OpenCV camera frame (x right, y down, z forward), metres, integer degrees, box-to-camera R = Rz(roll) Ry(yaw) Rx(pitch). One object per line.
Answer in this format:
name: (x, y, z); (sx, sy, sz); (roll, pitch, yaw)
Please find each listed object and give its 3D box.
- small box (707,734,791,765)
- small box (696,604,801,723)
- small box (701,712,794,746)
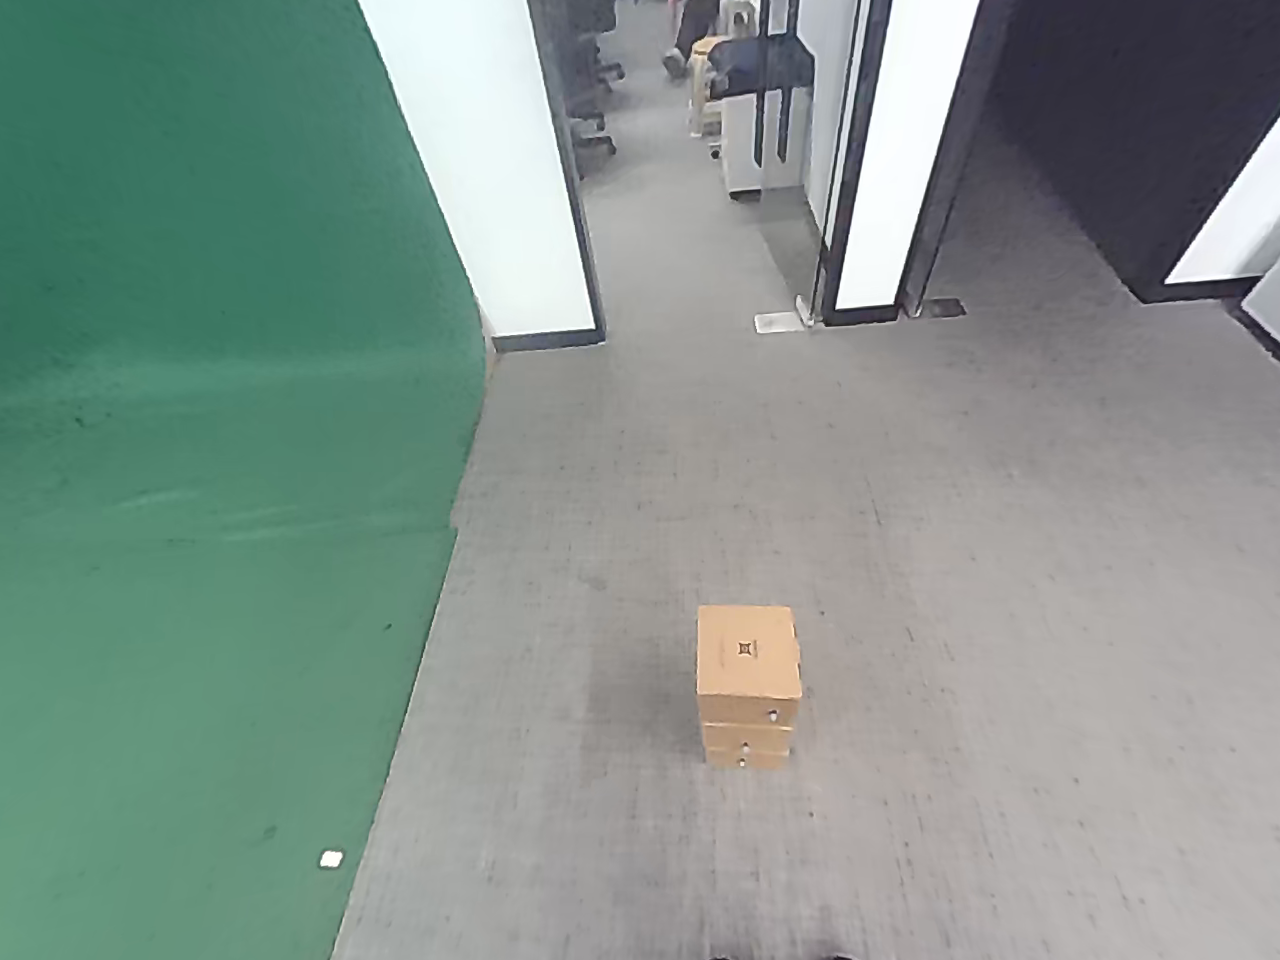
small box: (0.244, 0.555, 1.256); (0.179, 0.176, 0.168); (-2, 52, 6)
small box: (0.197, 0.345, 1.011); (0.179, 0.176, 0.168); (-2, 51, 9)
small box: (0.219, 0.449, 1.134); (0.179, 0.176, 0.168); (1, 52, 9)
